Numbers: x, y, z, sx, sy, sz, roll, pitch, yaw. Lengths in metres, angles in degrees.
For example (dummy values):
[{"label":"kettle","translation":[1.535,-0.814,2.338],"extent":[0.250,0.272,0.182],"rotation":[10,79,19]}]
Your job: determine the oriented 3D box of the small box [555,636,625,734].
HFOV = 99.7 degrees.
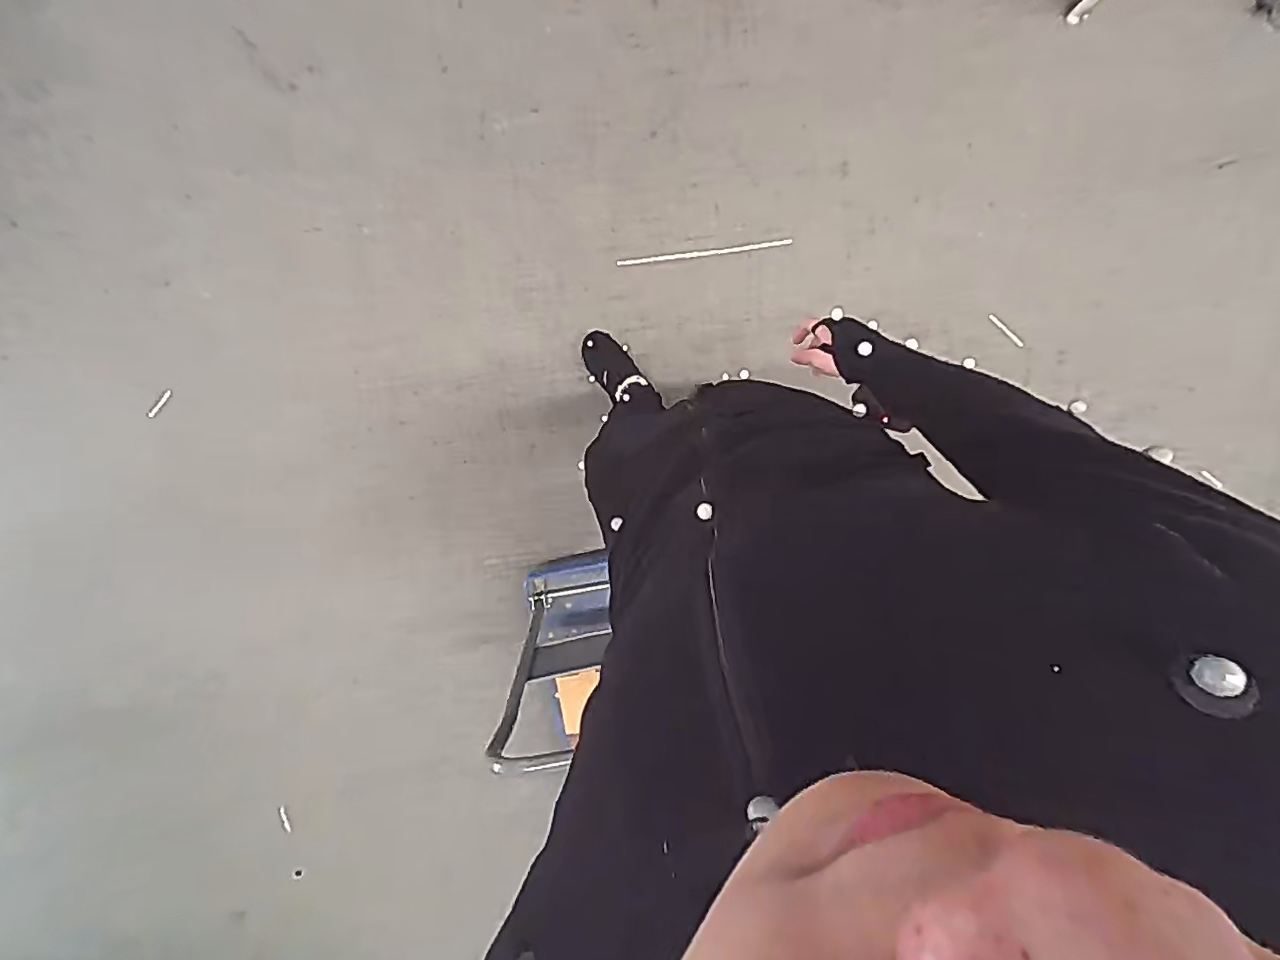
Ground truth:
[{"label":"small box","translation":[-0.130,0.554,1.475],"extent":[0.168,0.176,0.179],"rotation":[-8,104,-1]}]
